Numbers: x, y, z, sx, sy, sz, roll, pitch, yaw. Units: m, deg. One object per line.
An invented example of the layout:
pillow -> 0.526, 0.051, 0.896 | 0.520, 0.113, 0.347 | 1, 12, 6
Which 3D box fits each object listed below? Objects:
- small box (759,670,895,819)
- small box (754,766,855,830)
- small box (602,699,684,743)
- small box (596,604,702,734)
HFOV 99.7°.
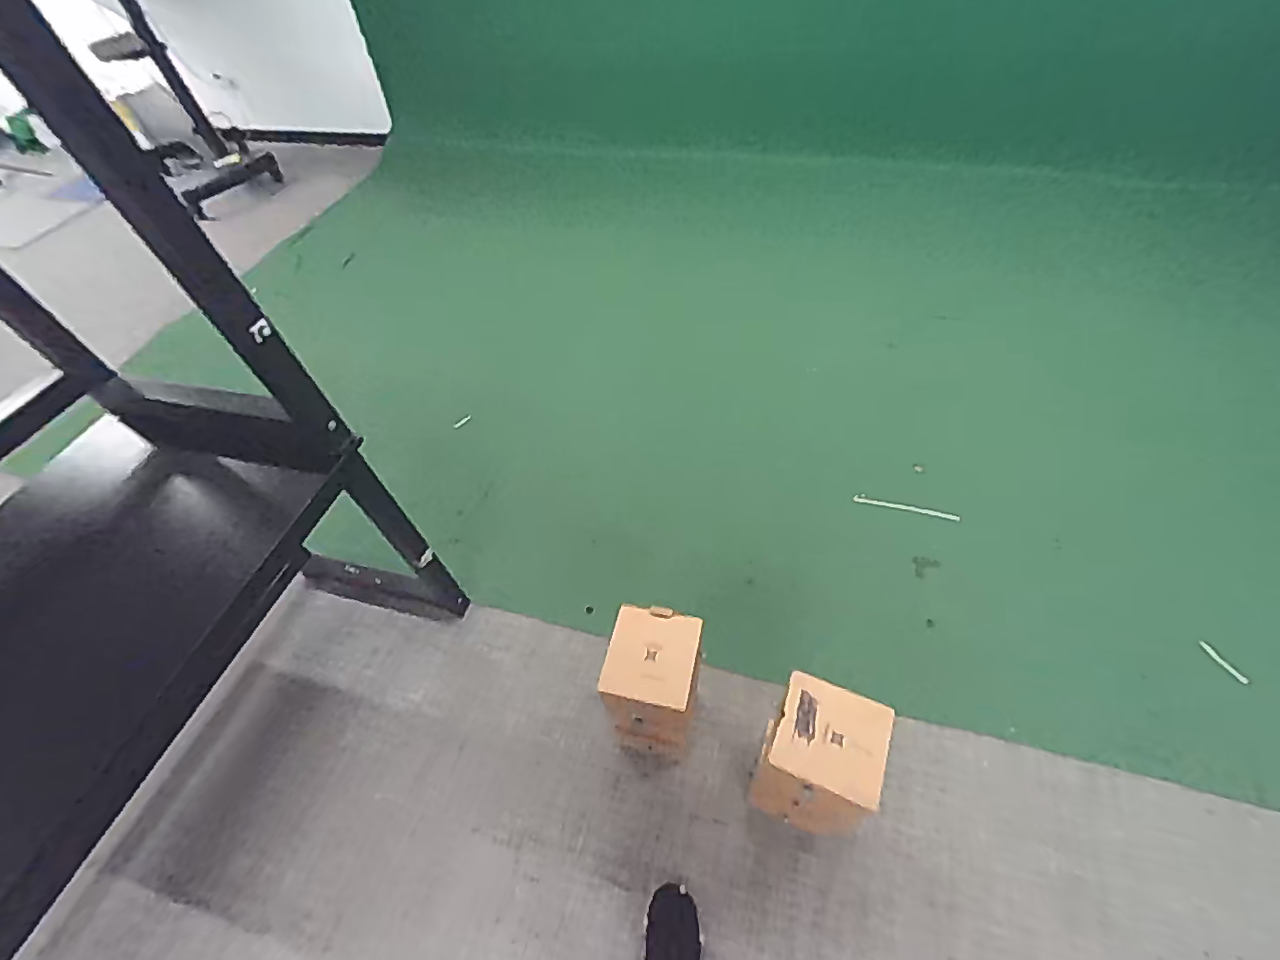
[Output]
small box -> 0.319, 0.467, 0.946 | 0.179, 0.176, 0.168 | 18, 56, 18
small box -> 0.338, 0.568, 1.074 | 0.179, 0.176, 0.168 | 20, 58, 19
small box -> 0.030, 0.457, 1.192 | 0.168, 0.176, 0.179 | 10, 53, 13
small box -> 0.025, 0.370, 1.053 | 0.168, 0.176, 0.179 | 7, 53, 13
